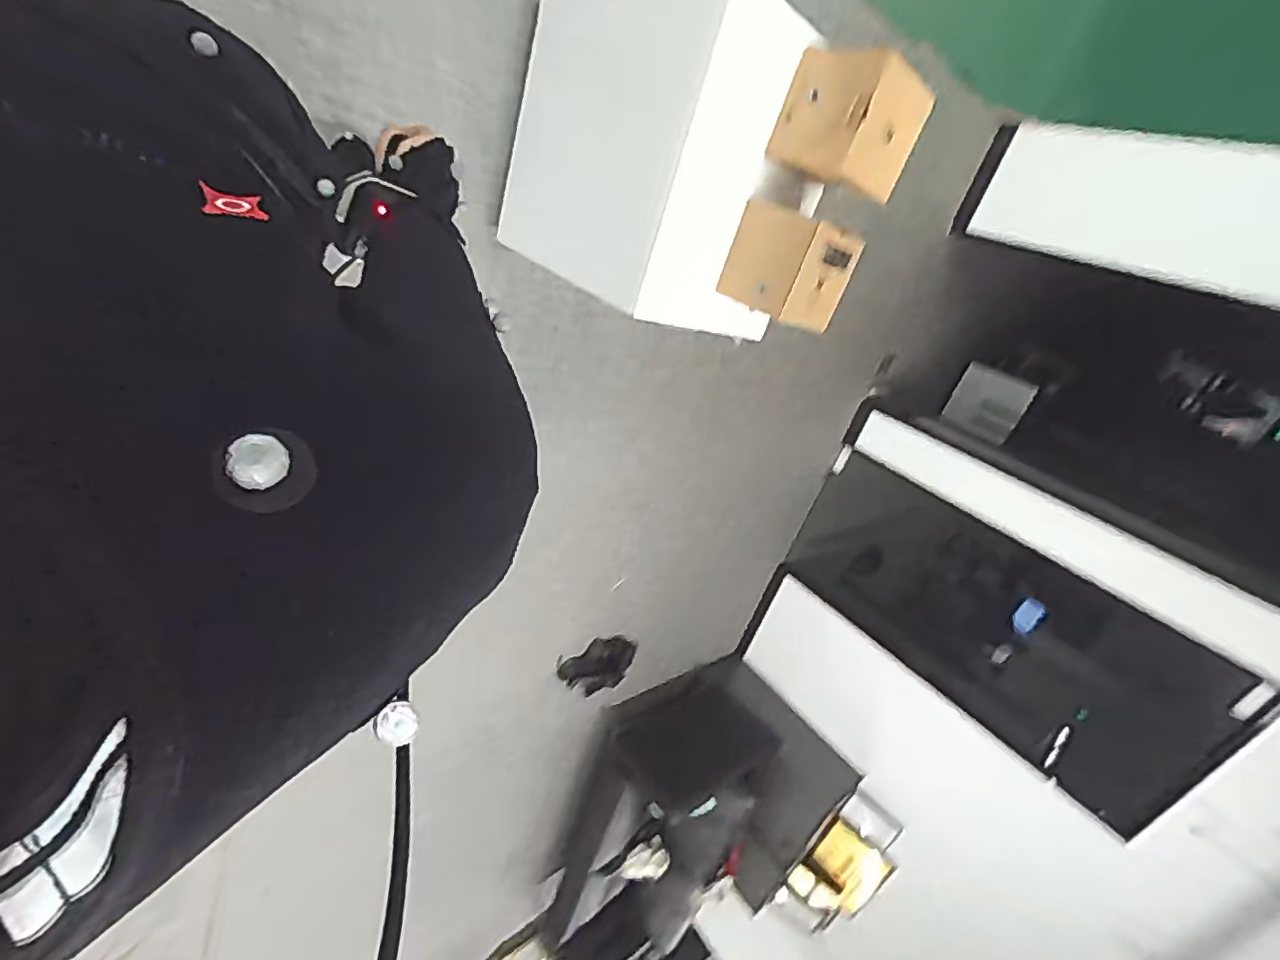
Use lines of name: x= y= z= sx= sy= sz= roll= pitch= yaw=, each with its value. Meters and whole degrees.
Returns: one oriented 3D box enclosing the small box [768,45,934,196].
small box: x=0.357 y=-0.618 z=0.932 sx=0.179 sy=0.176 sz=0.168 roll=-5 pitch=125 yaw=-42
